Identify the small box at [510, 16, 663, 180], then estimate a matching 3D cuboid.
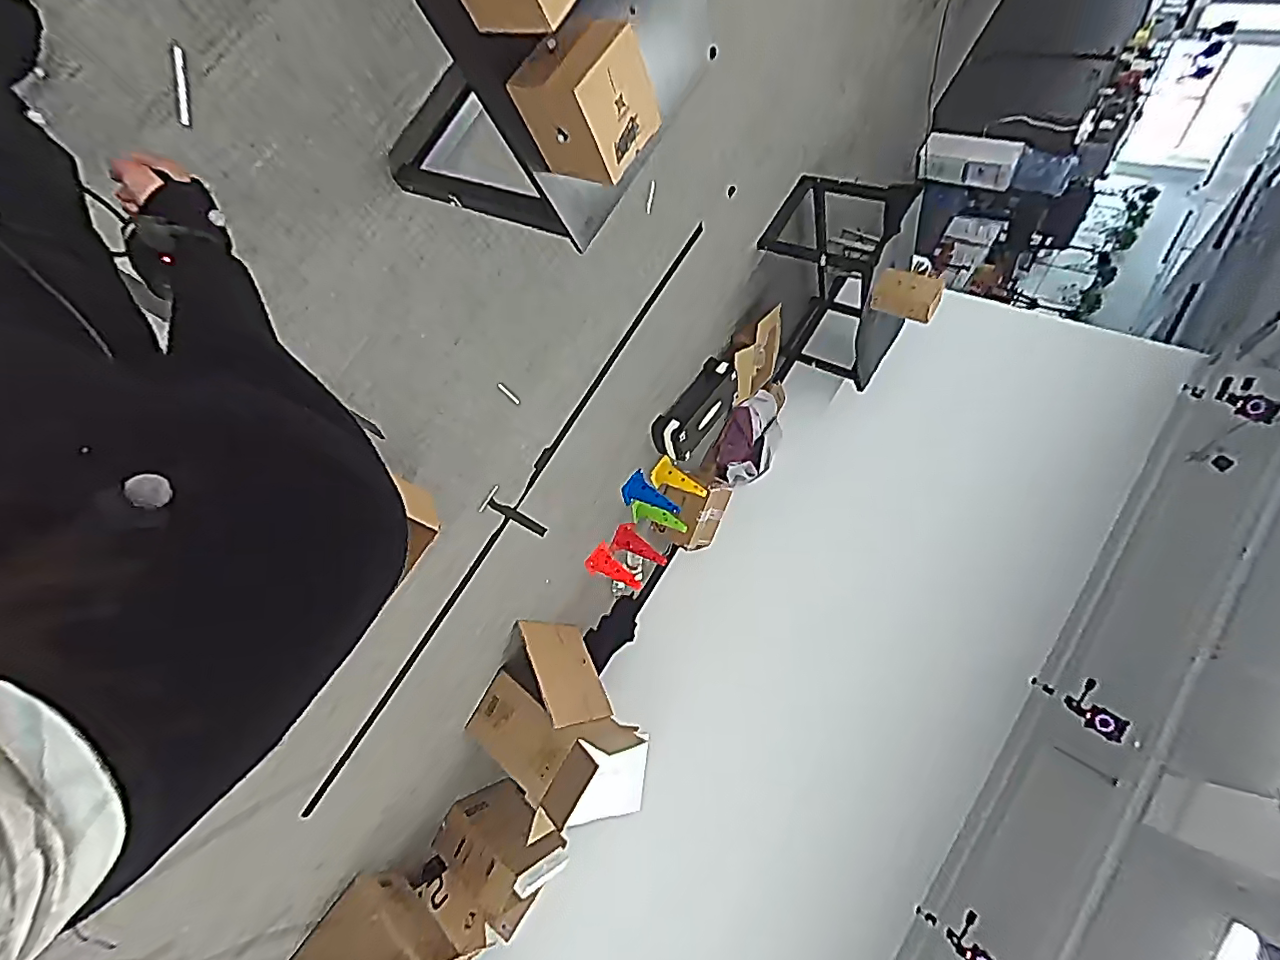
[{"bbox_3d":[-0.091,-0.675,0.956,0.168,0.176,0.179,-57,150,-9],"label":"small box"}]
